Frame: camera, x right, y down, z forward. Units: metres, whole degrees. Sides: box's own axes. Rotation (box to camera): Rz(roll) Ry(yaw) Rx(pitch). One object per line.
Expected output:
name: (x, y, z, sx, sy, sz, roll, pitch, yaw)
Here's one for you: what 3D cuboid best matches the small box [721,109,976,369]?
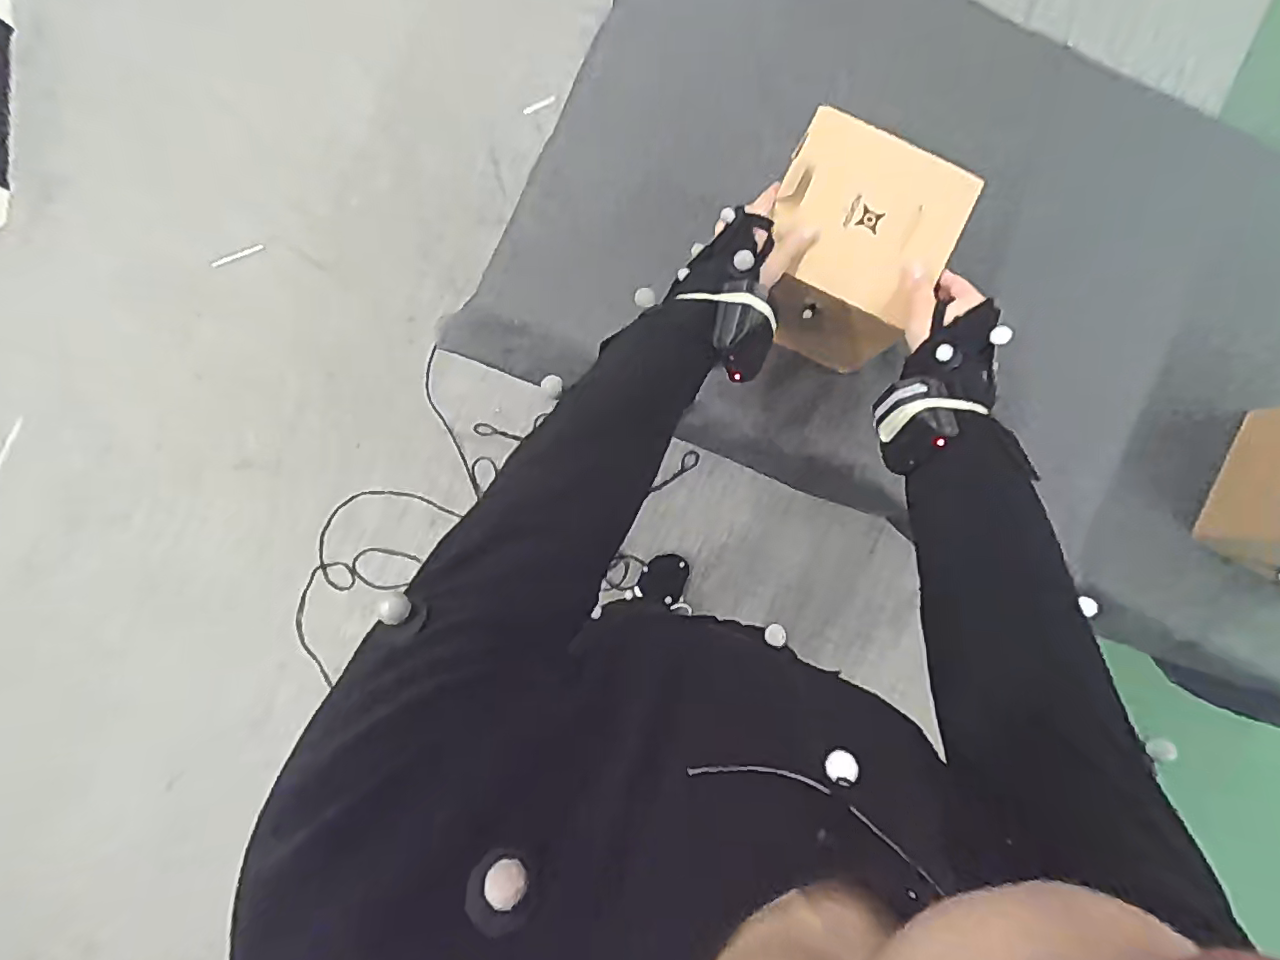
small box: (0.205, -0.240, 0.587, 0.179, 0.176, 0.168, 26, 87, 0)
